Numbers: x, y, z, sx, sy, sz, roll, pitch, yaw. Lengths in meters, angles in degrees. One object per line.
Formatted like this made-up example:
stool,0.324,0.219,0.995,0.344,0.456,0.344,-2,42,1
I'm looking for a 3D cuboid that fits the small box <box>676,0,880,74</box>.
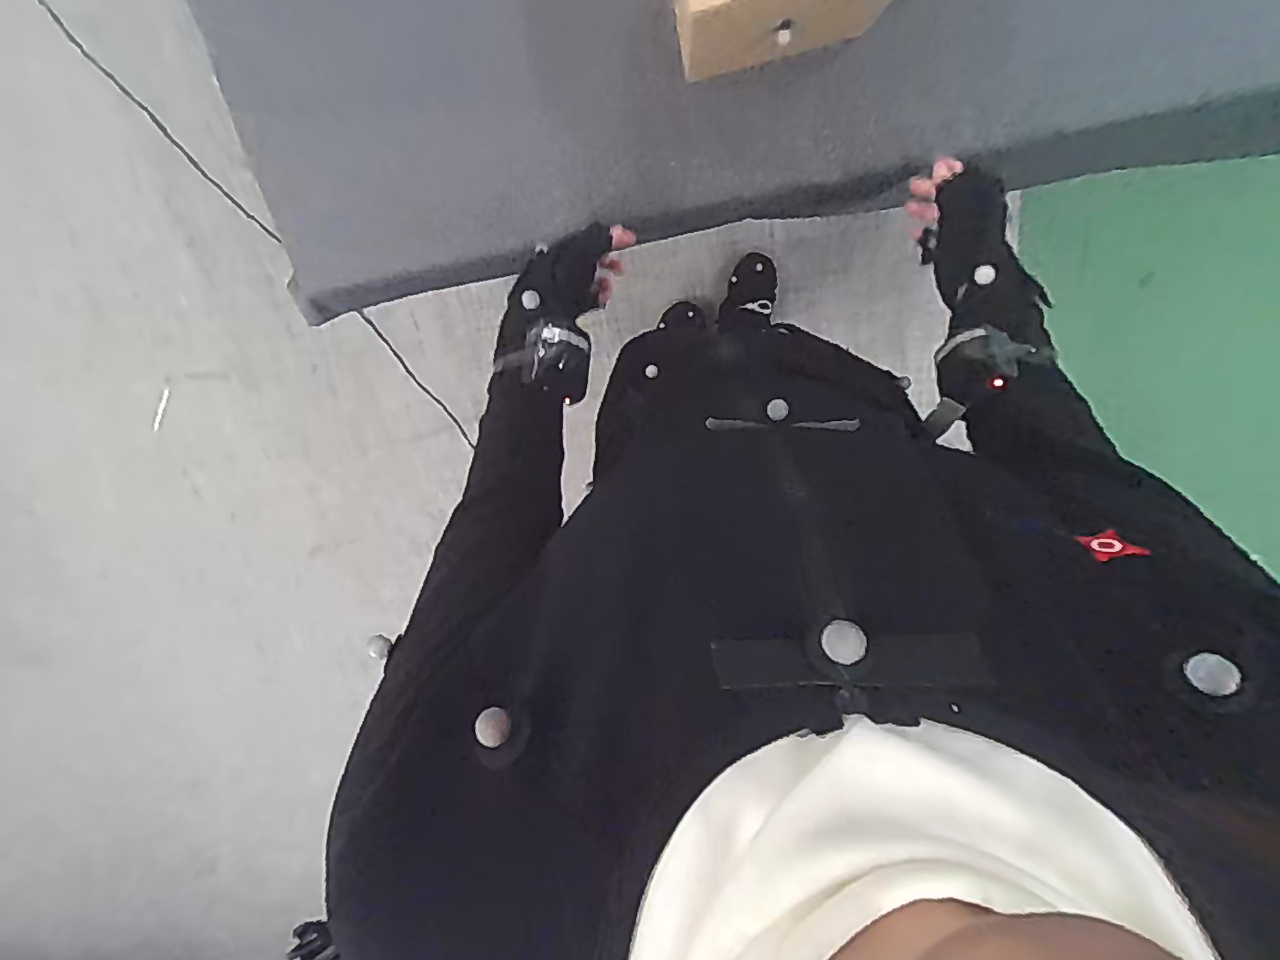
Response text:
small box,0.111,-0.454,0.416,0.179,0.176,0.168,-13,112,9
